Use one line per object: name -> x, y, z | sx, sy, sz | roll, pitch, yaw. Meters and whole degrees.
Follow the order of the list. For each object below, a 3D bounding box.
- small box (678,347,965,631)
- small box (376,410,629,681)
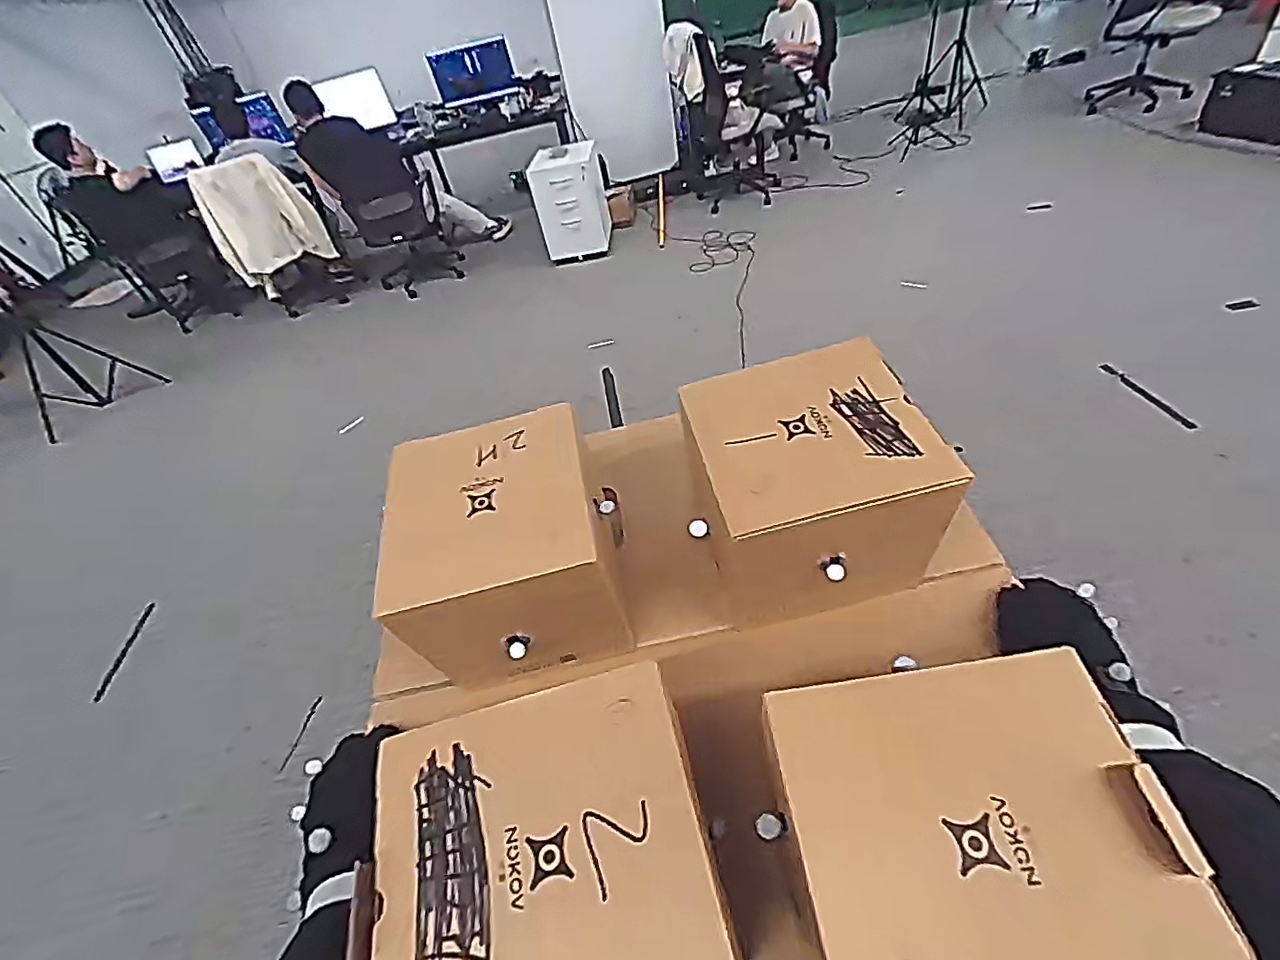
small box -> 0.143, 0.014, 0.488 | 0.179, 0.176, 0.168 | -15, 51, 1
small box -> -0.113, 0.069, 0.500 | 0.168, 0.176, 0.179 | -14, 50, 0
